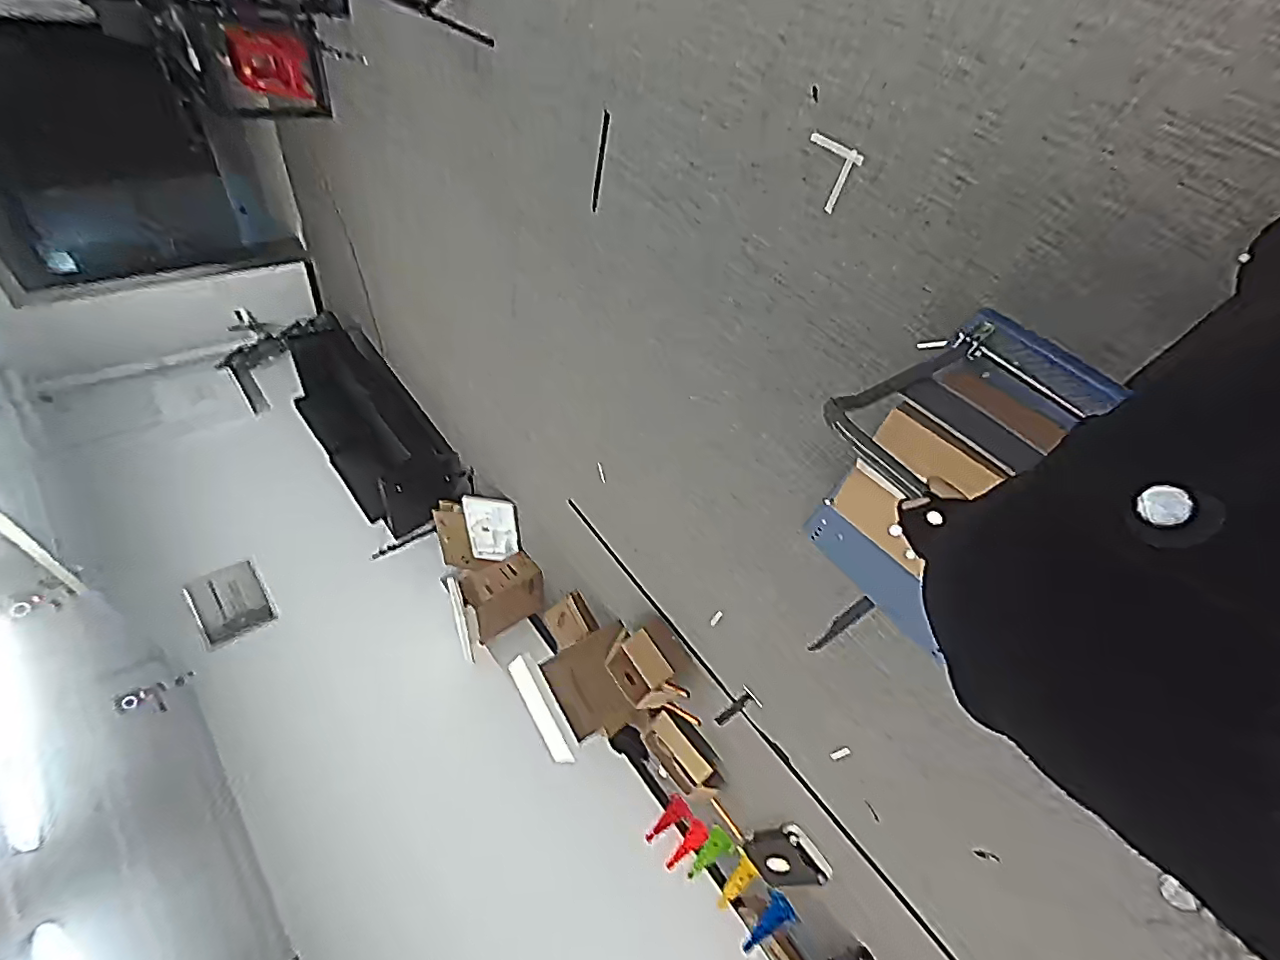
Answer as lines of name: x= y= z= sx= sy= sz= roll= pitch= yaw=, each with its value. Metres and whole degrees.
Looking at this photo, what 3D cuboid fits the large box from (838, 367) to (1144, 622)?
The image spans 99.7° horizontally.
large box: x=0.735 y=0.017 z=1.178 sx=0.408 sy=0.320 sz=0.320 roll=45 pitch=143 yaw=27
